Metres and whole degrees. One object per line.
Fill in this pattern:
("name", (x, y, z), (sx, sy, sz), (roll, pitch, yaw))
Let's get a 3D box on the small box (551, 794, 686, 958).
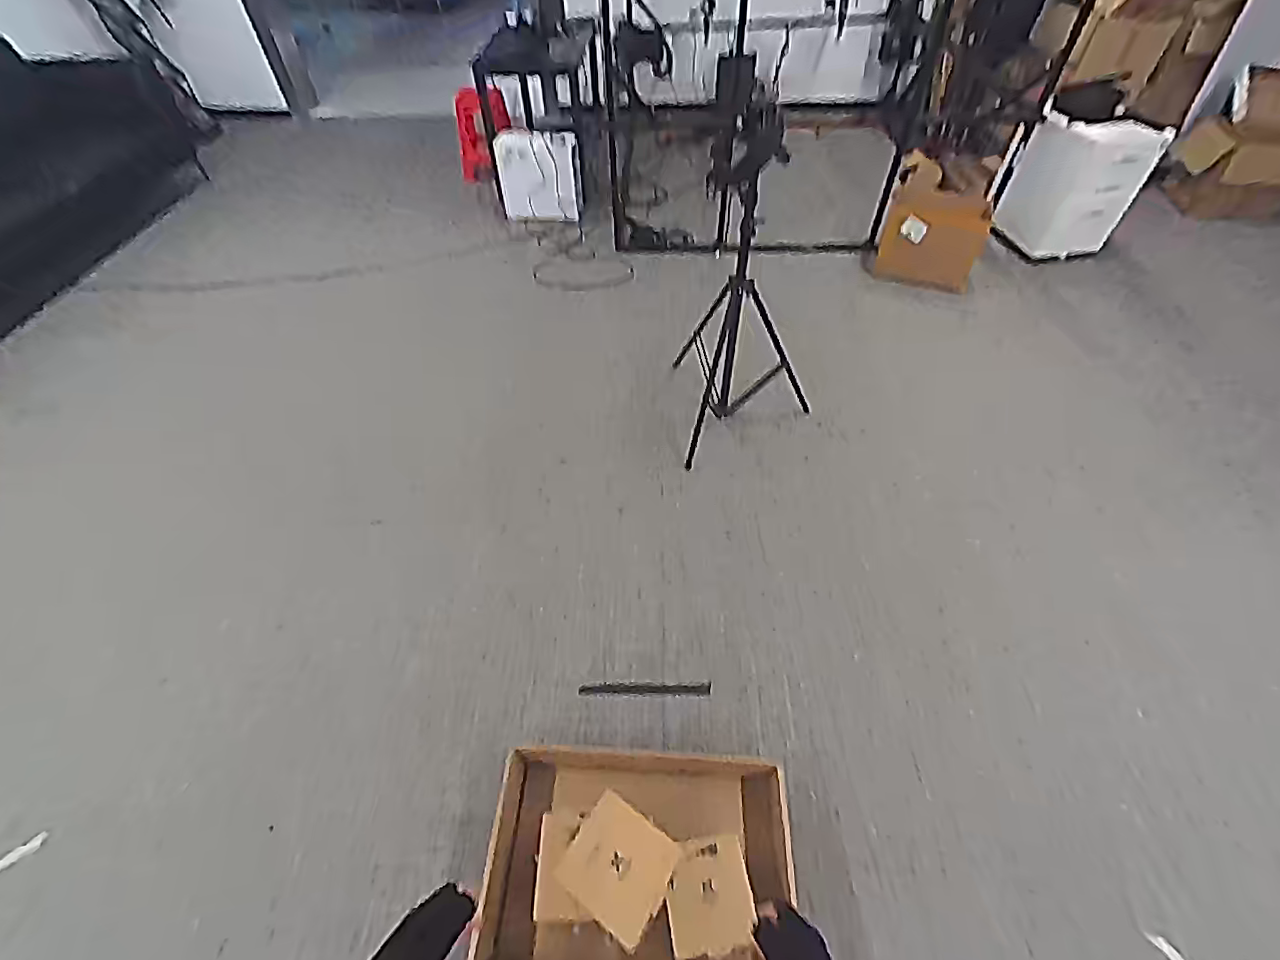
("small box", (-0.035, 0.719, 0.985), (0.179, 0.176, 0.168), (26, 52, 23))
